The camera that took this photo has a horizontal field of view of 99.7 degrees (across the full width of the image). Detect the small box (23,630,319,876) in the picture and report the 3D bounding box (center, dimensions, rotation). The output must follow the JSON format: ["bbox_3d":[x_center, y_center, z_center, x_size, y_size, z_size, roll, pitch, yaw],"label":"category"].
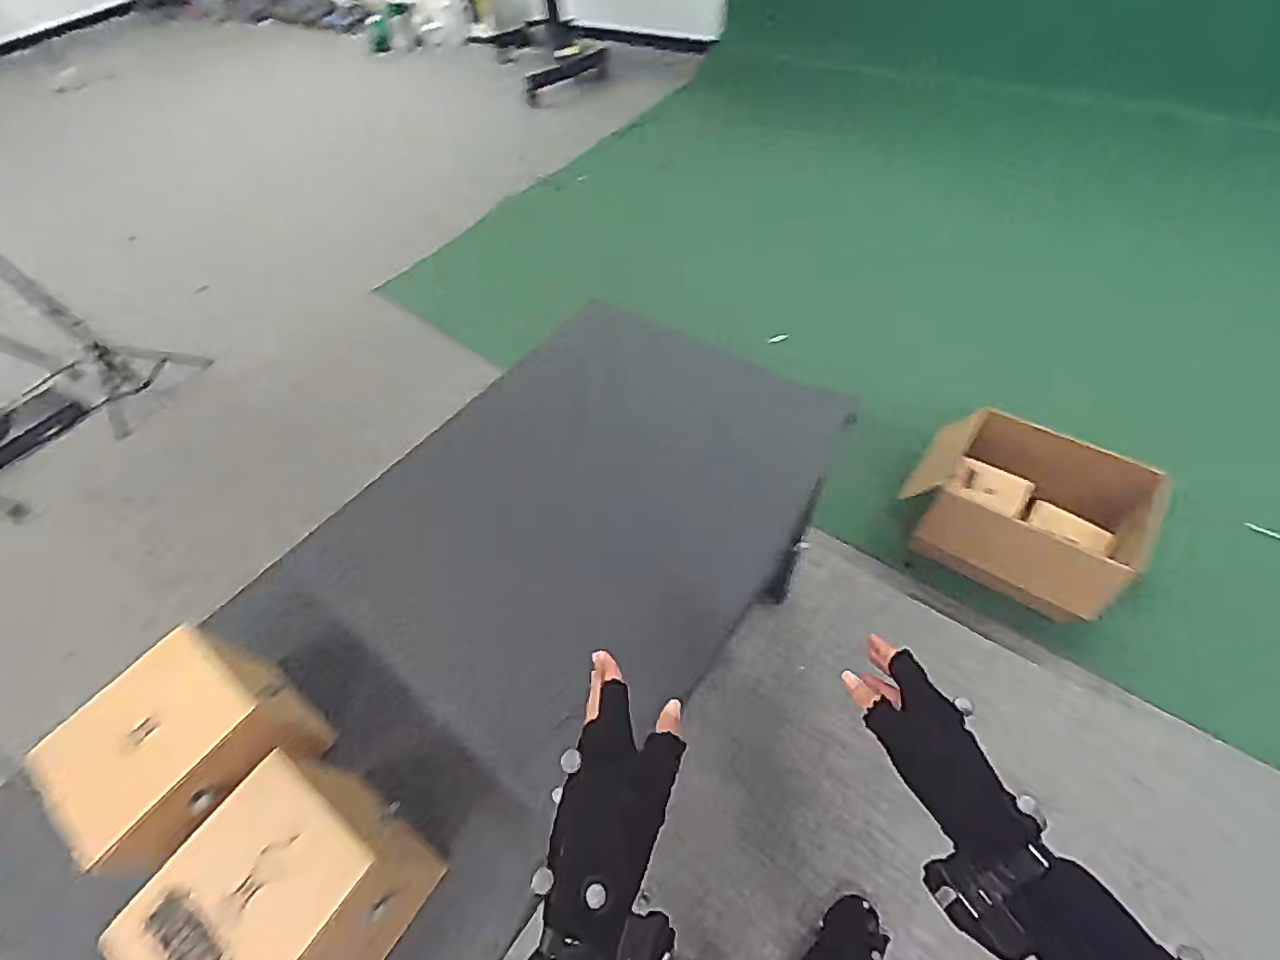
[{"bbox_3d":[-0.514,0.313,0.627,0.168,0.176,0.179,28,63,24],"label":"small box"}]
